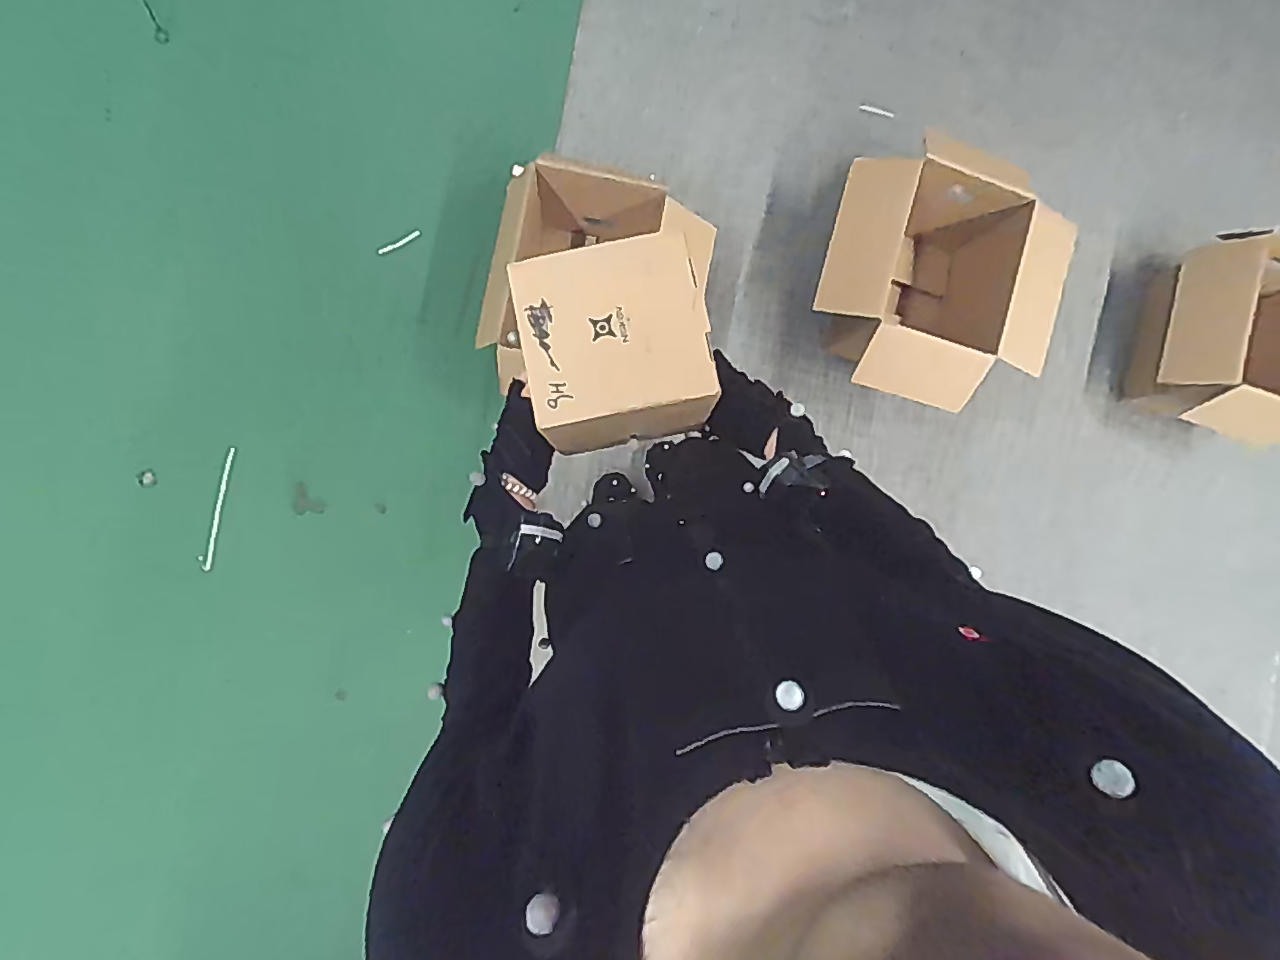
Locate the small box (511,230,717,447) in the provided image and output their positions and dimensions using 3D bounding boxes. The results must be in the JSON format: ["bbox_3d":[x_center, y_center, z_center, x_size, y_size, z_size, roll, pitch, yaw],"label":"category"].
[{"bbox_3d":[-0.028,-0.140,0.589,0.179,0.176,0.168,-10,84,-2],"label":"small box"}]
